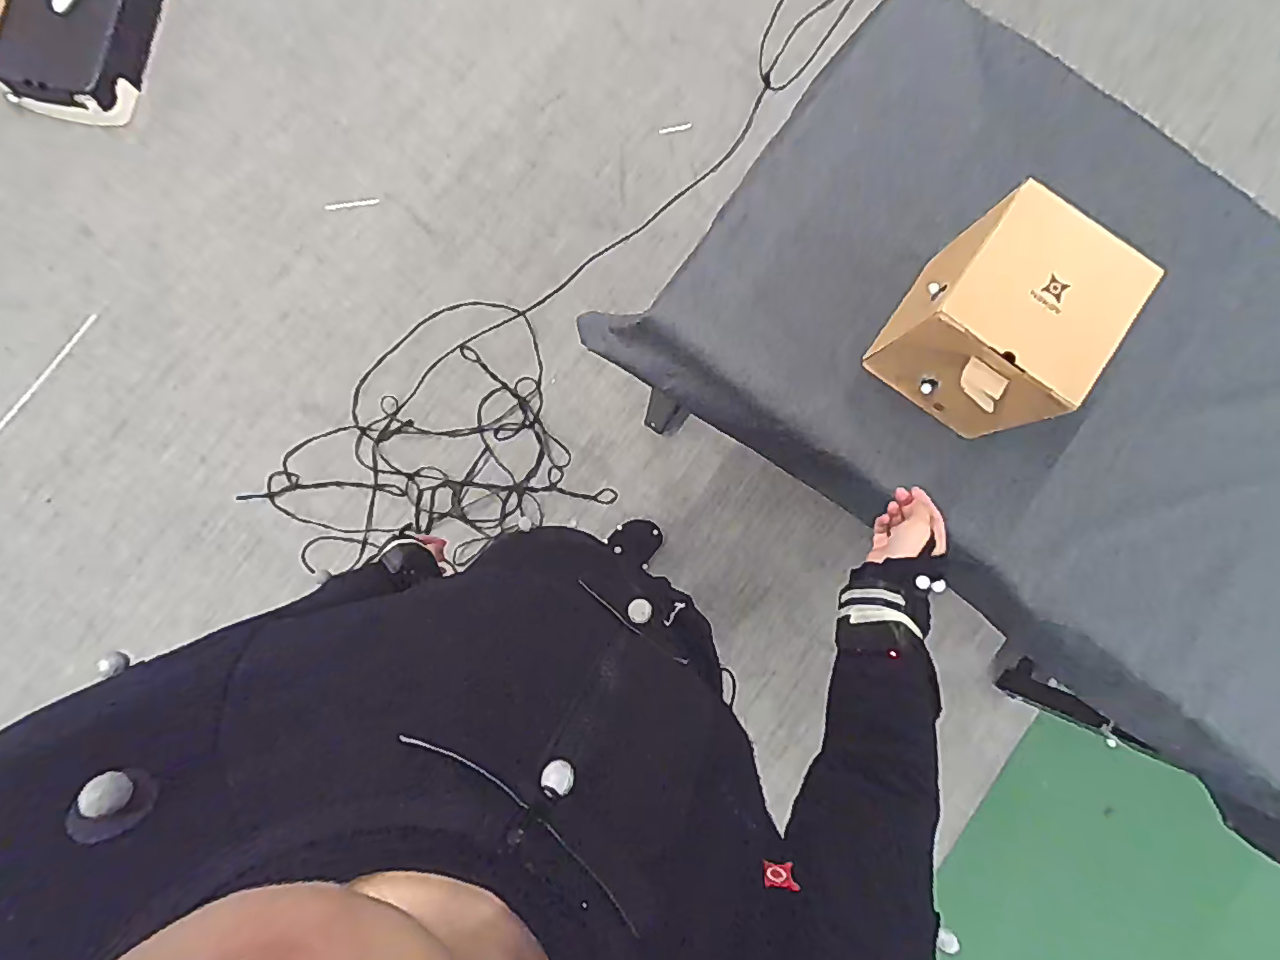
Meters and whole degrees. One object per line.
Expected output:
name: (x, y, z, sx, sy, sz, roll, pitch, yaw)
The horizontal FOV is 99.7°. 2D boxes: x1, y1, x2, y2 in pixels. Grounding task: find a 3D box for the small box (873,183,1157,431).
small box: (0.404, -0.179, 0.615, 0.168, 0.176, 0.179, 35, 85, 0)
